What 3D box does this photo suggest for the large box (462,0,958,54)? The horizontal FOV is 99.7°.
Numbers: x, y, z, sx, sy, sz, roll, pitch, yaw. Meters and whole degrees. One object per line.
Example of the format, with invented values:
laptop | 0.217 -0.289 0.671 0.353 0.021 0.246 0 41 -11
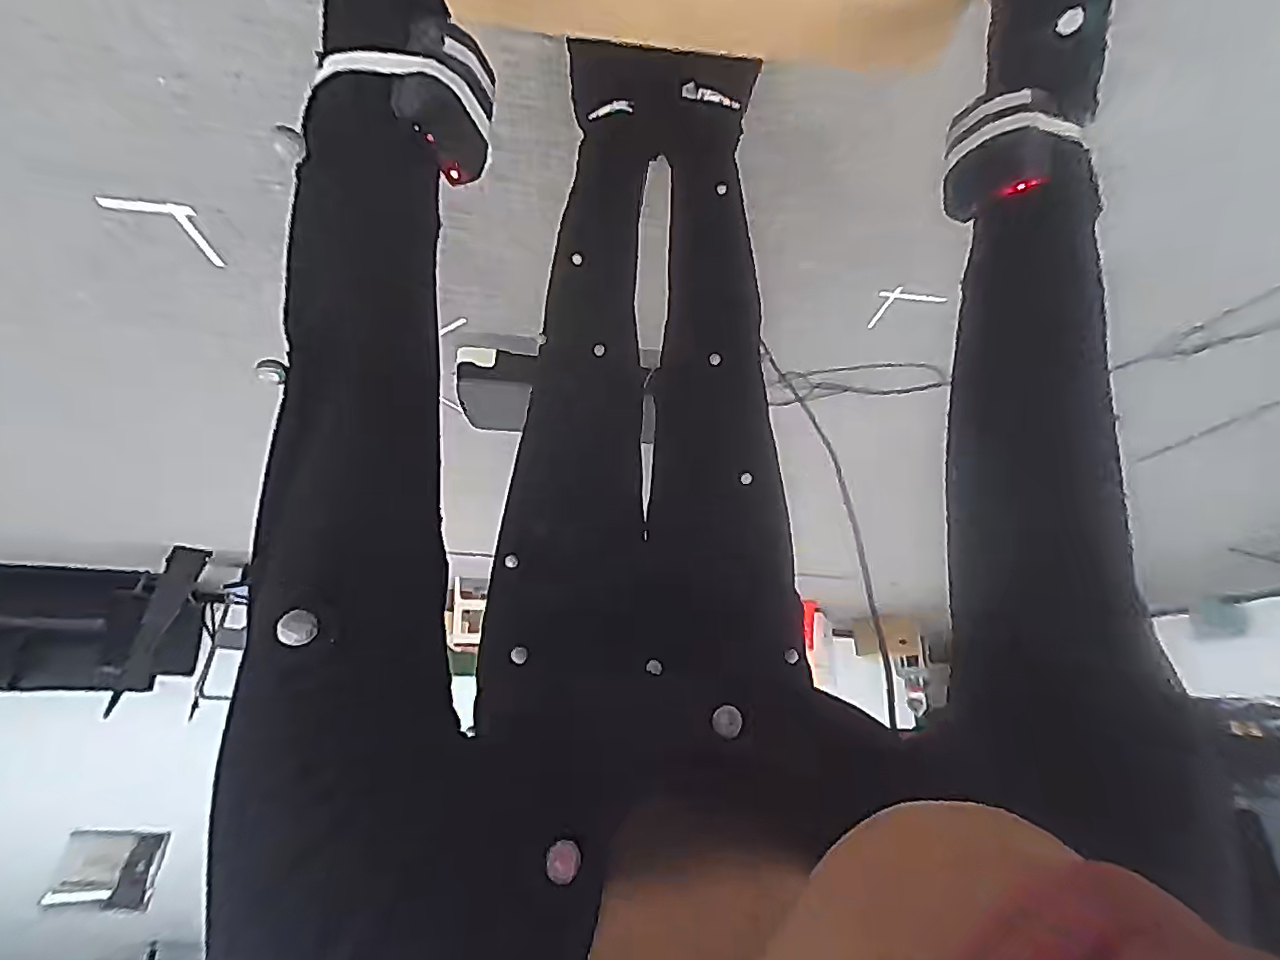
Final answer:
large box | 0.063 -0.570 0.377 0.408 0.320 0.320 3 156 -4
